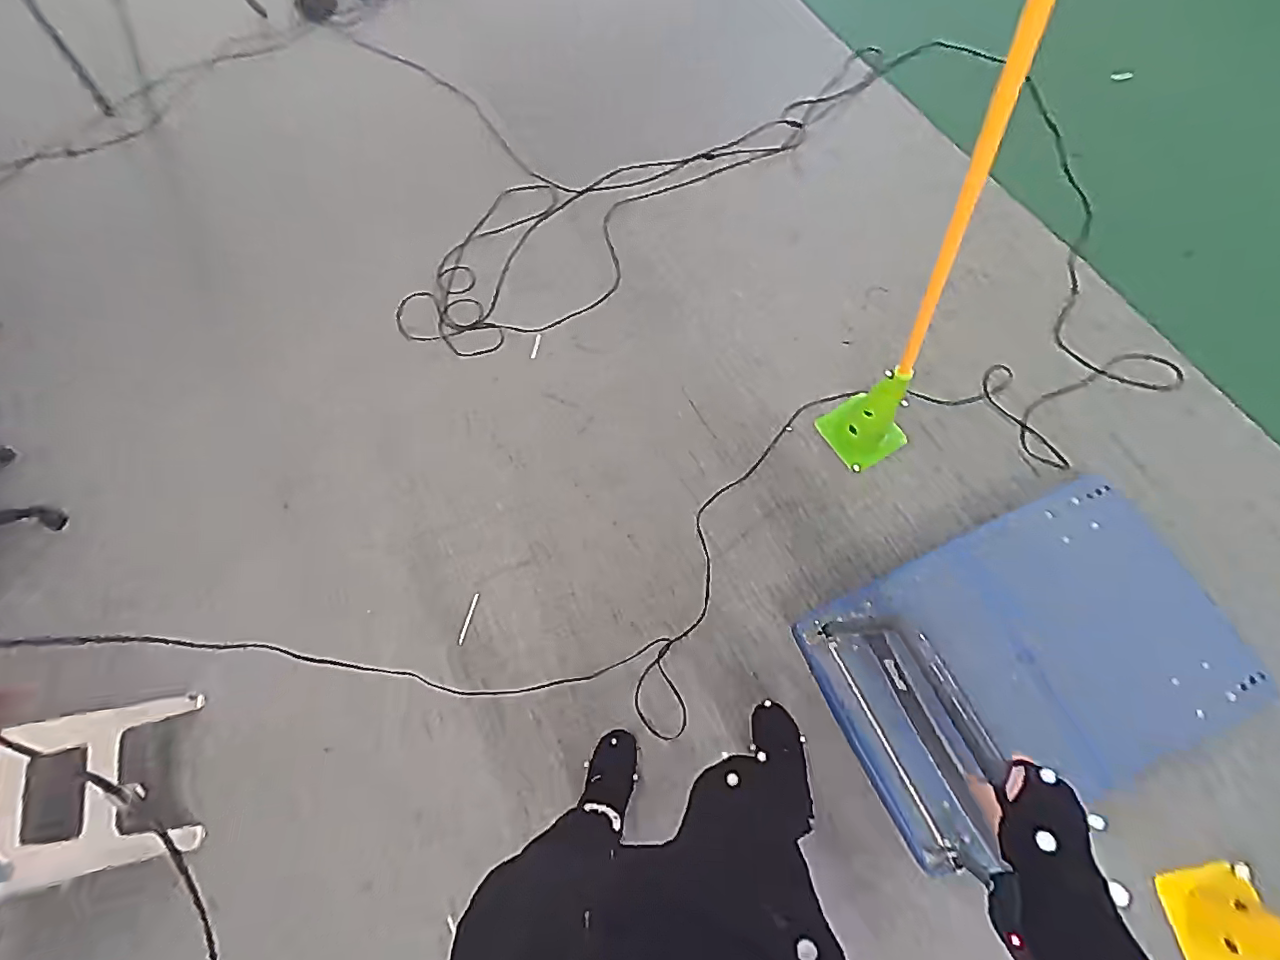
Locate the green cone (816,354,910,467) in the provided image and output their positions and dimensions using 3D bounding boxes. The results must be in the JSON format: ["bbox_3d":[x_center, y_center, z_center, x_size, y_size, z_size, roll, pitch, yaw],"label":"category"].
[{"bbox_3d":[0.632,-0.214,1.423,0.200,0.368,0.202,-32,70,-7],"label":"green cone"}]
